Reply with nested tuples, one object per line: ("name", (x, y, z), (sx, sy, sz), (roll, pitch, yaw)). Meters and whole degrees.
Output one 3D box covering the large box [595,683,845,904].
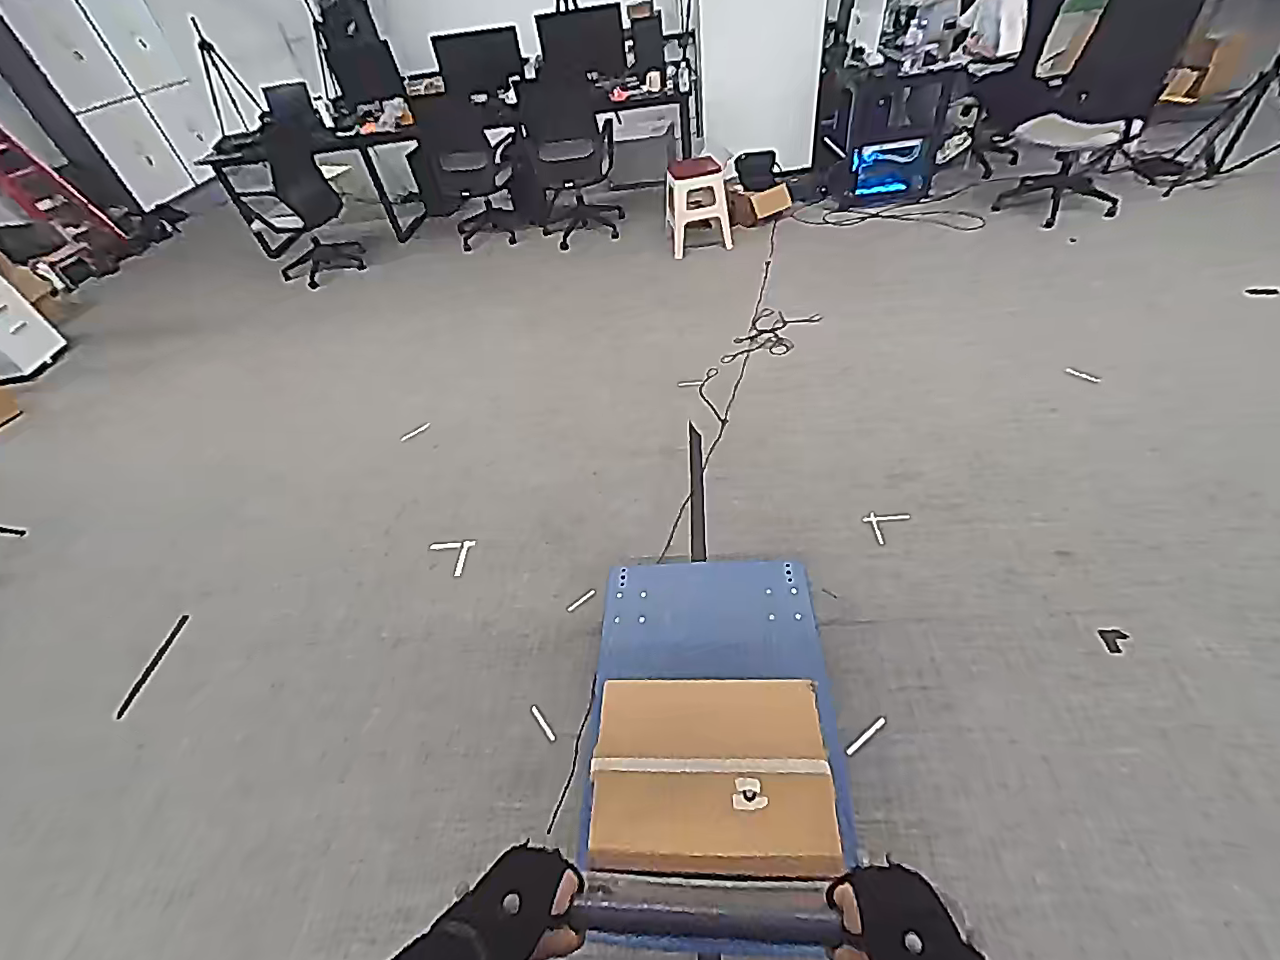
("large box", (0.142, 0.617, 1.064), (0.408, 0.320, 0.320), (-3, 46, 6))
